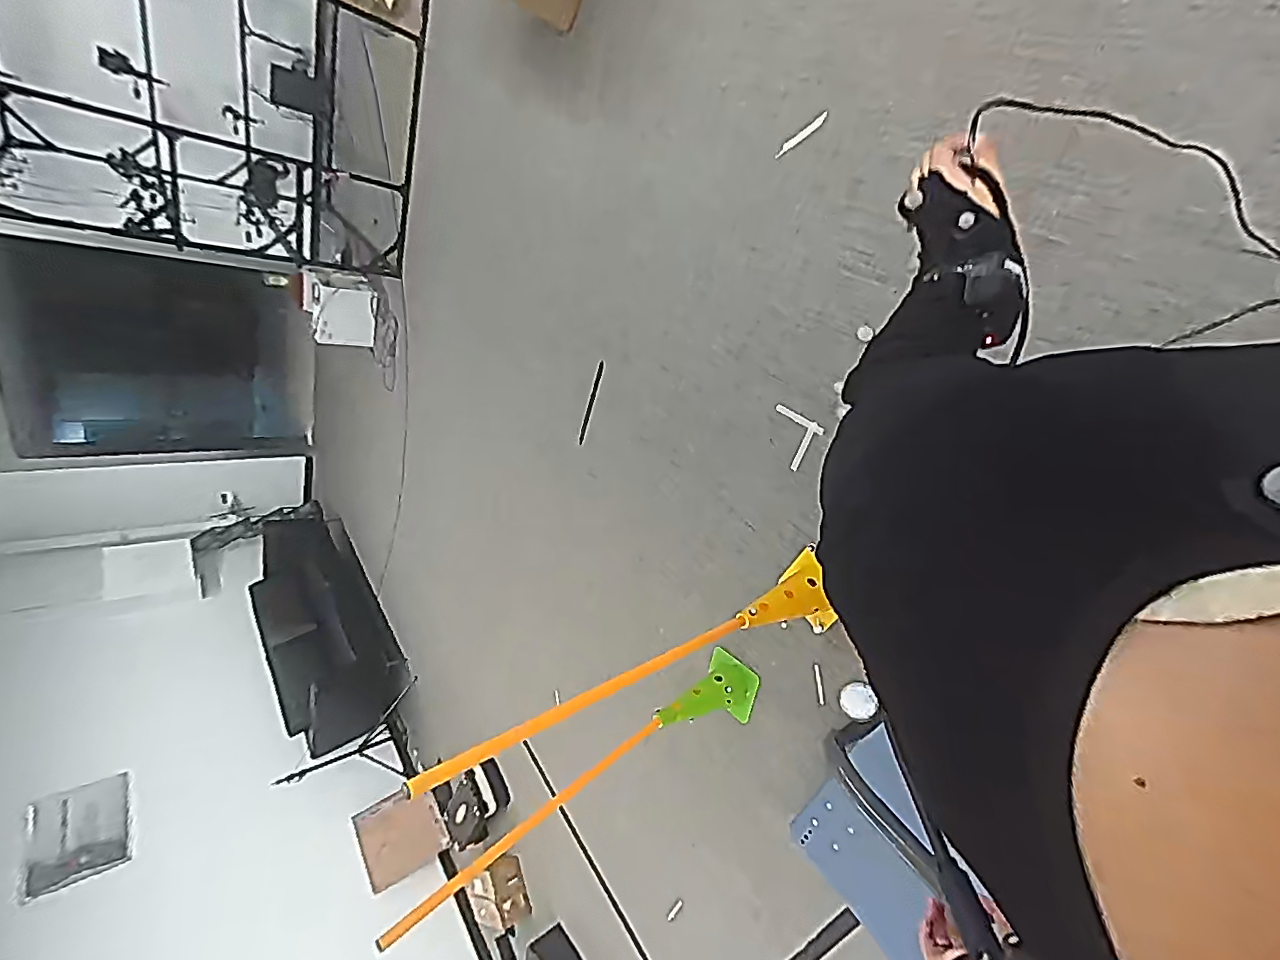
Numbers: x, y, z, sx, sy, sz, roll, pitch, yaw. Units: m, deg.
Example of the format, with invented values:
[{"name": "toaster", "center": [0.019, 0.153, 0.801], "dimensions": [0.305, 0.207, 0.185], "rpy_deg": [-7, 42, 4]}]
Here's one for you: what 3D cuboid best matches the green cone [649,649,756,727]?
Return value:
[{"name": "green cone", "center": [0.176, 0.719, 1.741], "dimensions": [0.200, 0.368, 0.202], "rpy_deg": [27, 113, 43]}]
